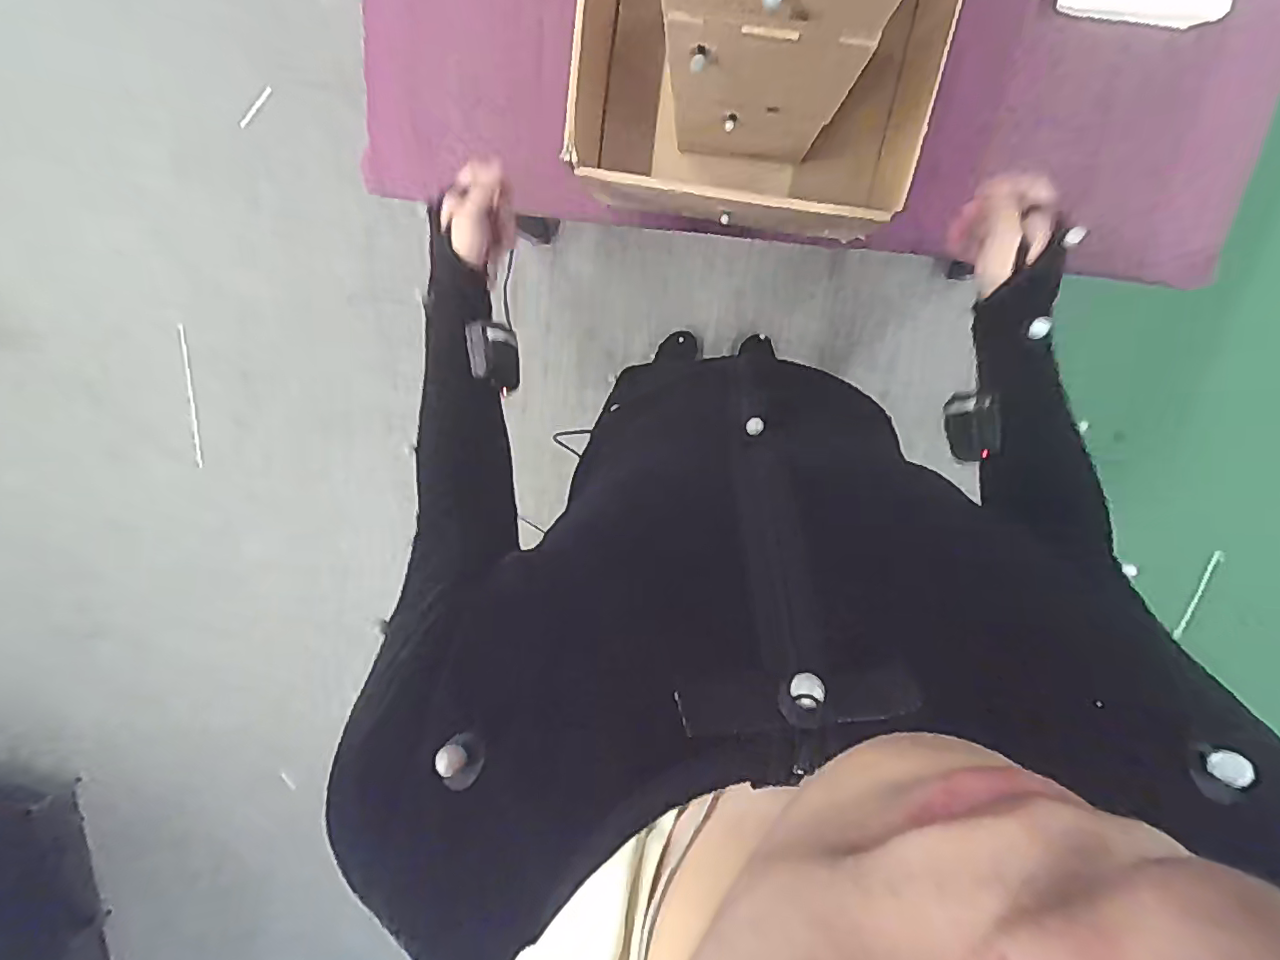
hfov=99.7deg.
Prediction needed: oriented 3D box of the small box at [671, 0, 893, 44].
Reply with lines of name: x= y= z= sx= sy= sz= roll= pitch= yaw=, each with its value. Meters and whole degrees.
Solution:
small box: x=0.100 y=-0.403 z=0.309 sx=0.168 sy=0.176 sz=0.179 roll=11 pitch=106 yaw=3
